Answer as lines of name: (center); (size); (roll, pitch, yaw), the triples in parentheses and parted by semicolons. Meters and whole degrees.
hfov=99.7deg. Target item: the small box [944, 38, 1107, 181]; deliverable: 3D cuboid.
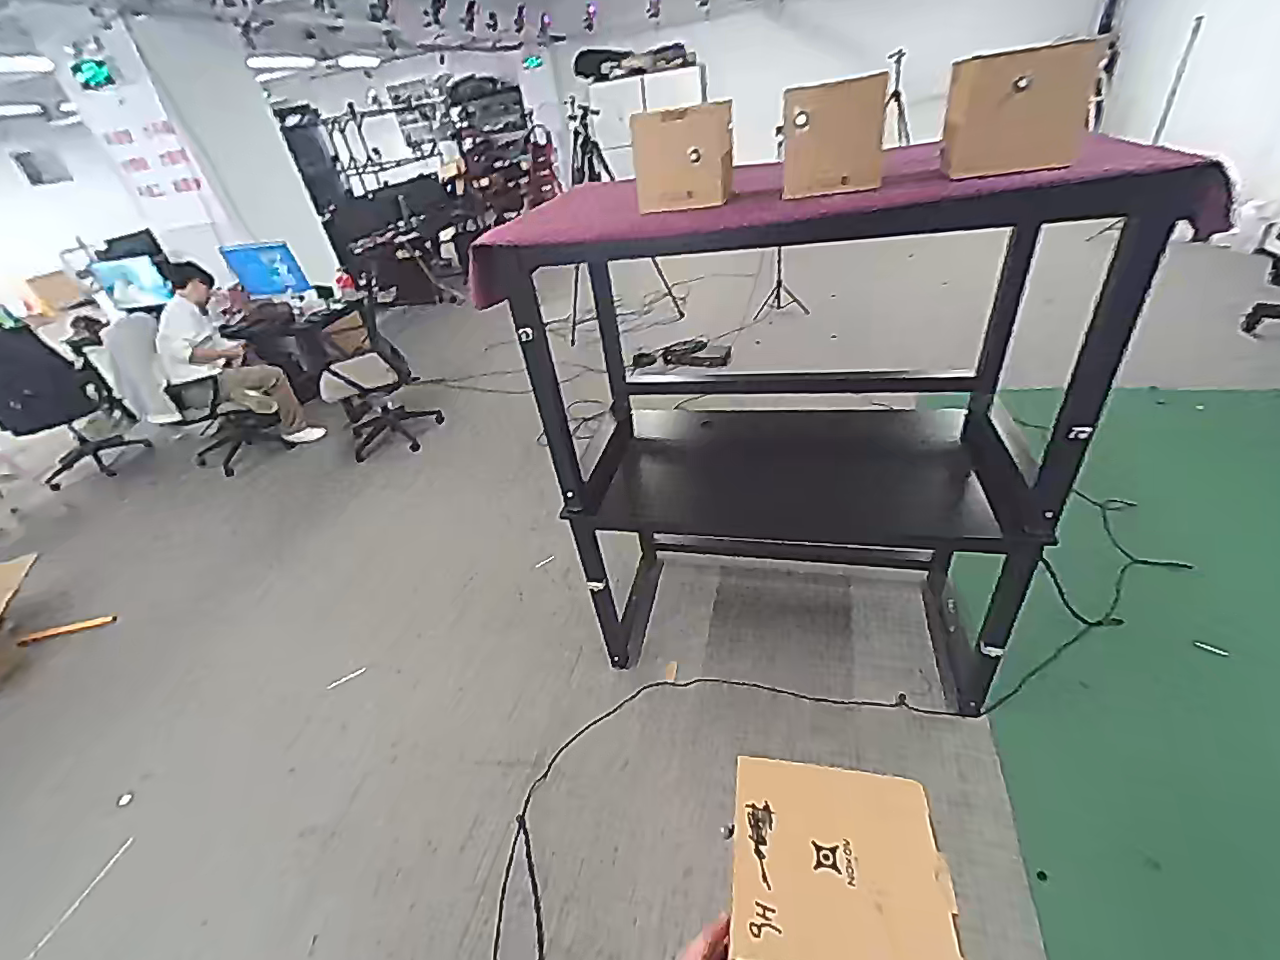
small box: (0.628, -0.614, 0.911); (0.179, 0.176, 0.168); (2, 35, 17)

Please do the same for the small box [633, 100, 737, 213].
small box: (0.098, -0.633, 1.068); (0.168, 0.176, 0.179); (4, 35, 18)

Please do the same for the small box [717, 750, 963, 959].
small box: (0.166, 0.388, 0.499); (0.179, 0.176, 0.168); (4, 31, 11)
